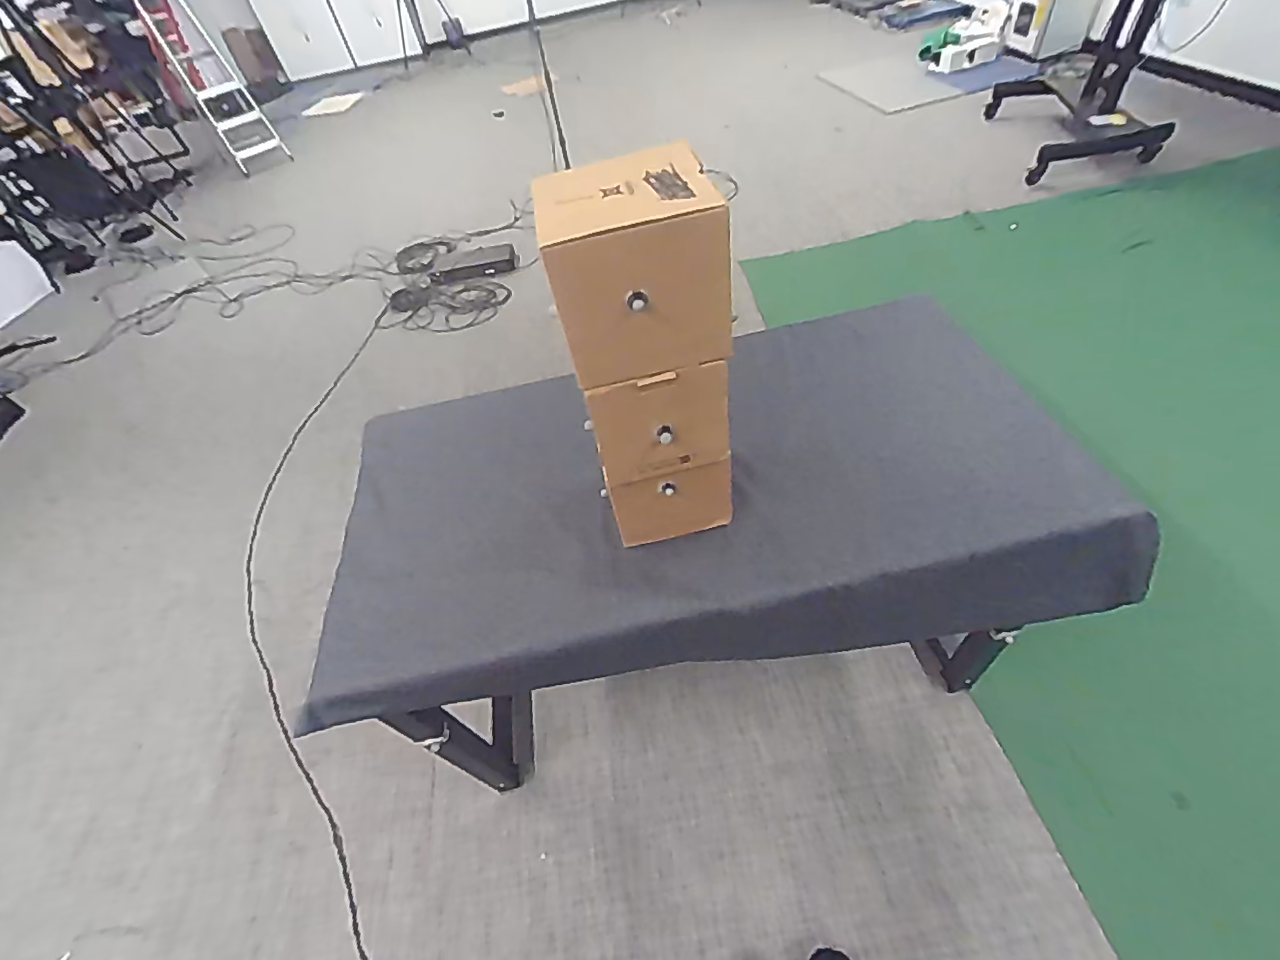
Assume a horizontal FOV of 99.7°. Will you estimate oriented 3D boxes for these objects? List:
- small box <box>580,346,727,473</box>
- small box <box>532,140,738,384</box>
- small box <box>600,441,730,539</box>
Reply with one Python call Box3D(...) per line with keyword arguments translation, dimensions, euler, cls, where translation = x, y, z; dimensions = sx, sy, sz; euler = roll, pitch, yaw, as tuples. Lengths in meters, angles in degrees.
Box3D(translation=(0.014, -0.128, 0.710), dimensions=(0.168, 0.176, 0.179), euler=(-14, 51, 0), cls="small box")
Box3D(translation=(-0.005, -0.230, 0.582), dimensions=(0.179, 0.176, 0.168), euler=(-14, 50, -3), cls="small box")
Box3D(translation=(0.036, -0.029, 0.838), dimensions=(0.179, 0.176, 0.168), euler=(-12, 50, -1), cls="small box")
